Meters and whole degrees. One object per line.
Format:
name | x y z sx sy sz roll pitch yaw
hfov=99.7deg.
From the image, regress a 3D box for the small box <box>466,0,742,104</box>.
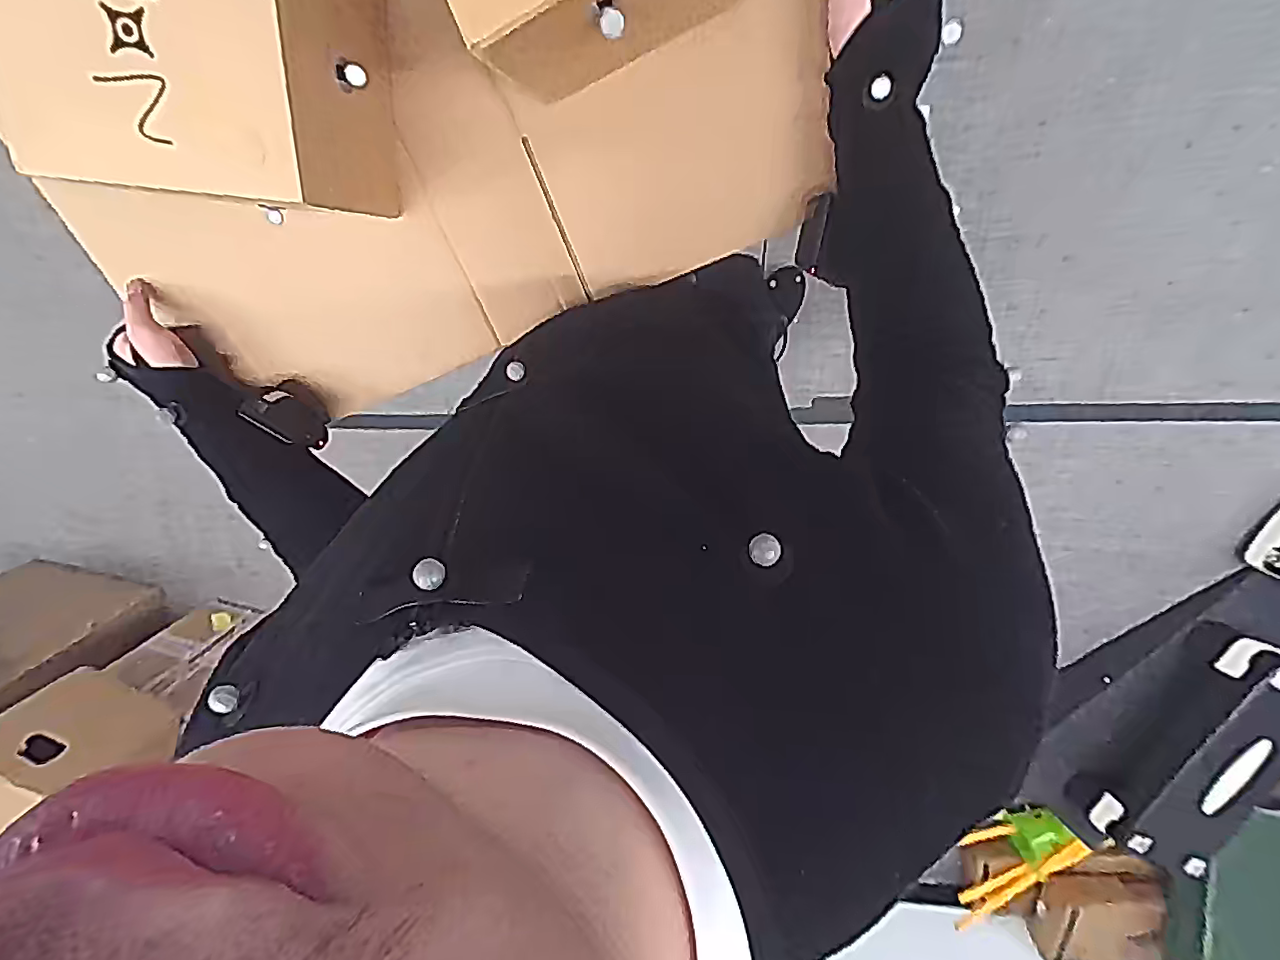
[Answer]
small box | -0.029 -0.377 0.345 0.179 0.176 0.168 -16 113 15
